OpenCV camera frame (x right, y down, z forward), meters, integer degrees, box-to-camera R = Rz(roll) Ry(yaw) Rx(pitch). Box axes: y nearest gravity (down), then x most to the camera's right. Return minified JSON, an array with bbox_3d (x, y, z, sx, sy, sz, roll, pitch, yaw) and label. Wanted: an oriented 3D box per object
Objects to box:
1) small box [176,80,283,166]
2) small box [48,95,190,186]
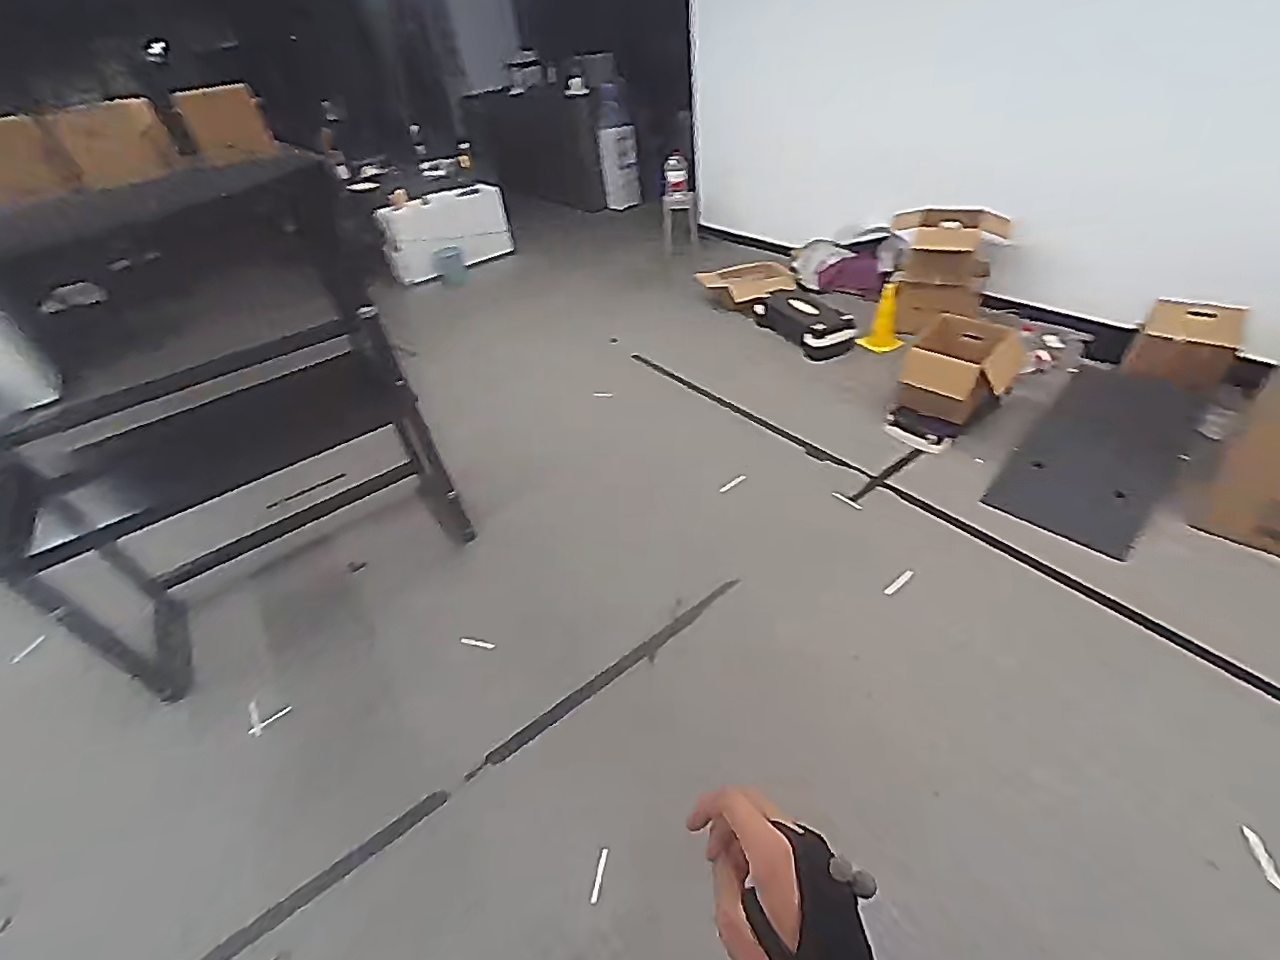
[{"bbox_3d":[-1.086,-0.953,1.443,0.168,0.176,0.179,-26,44,-19],"label":"small box"},{"bbox_3d":[-1.313,-0.867,1.380,0.179,0.176,0.168,-18,41,-12],"label":"small box"}]
